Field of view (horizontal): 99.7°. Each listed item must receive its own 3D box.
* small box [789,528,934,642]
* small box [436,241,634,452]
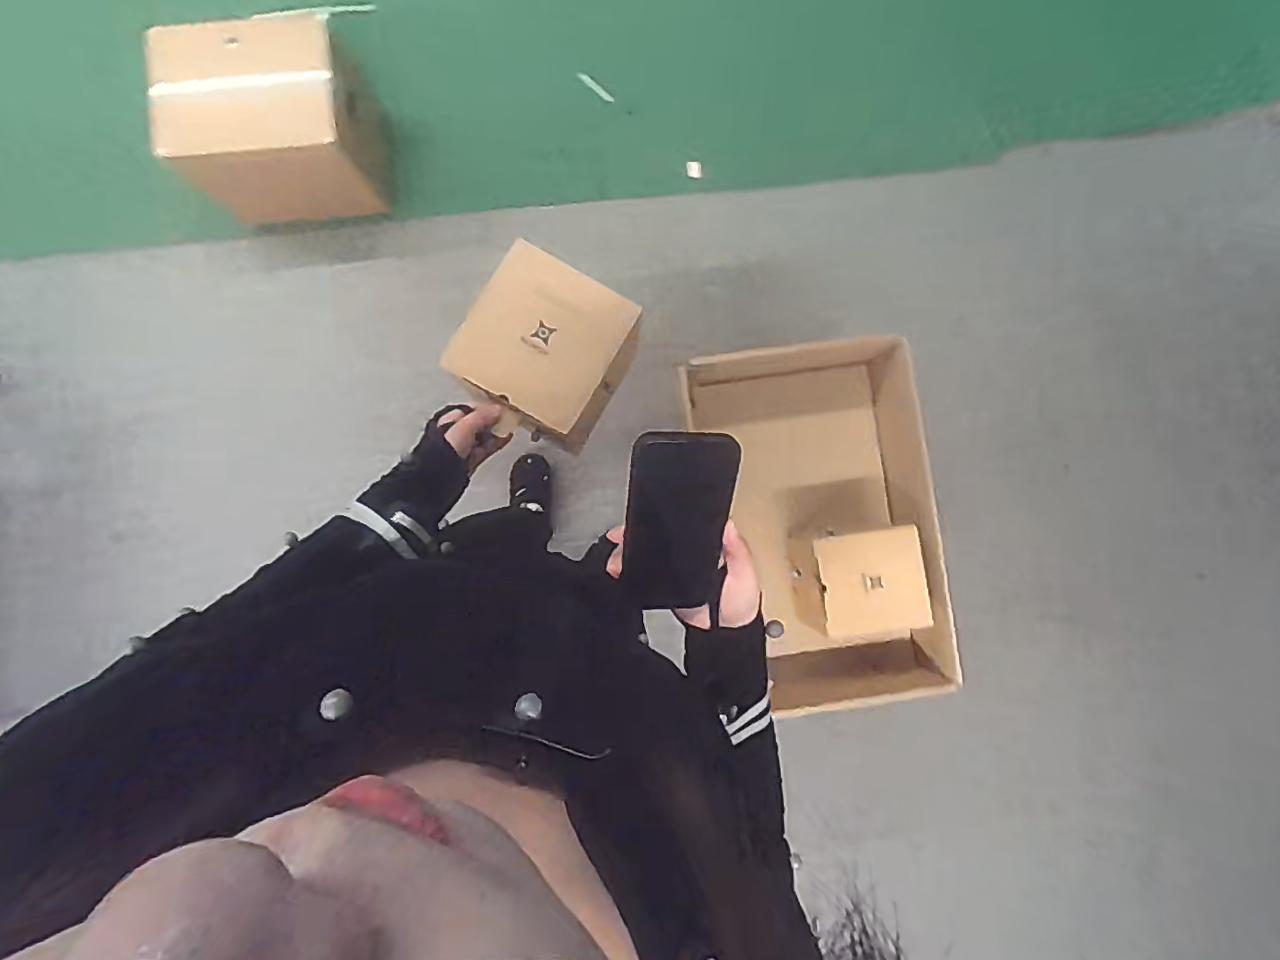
[{"bbox_3d":[0.380,0.177,0.955,0.179,0.176,0.168,-7,86,0],"label":"small box"},{"bbox_3d":[-0.118,-0.151,0.683,0.168,0.176,0.179,29,84,0],"label":"small box"}]
